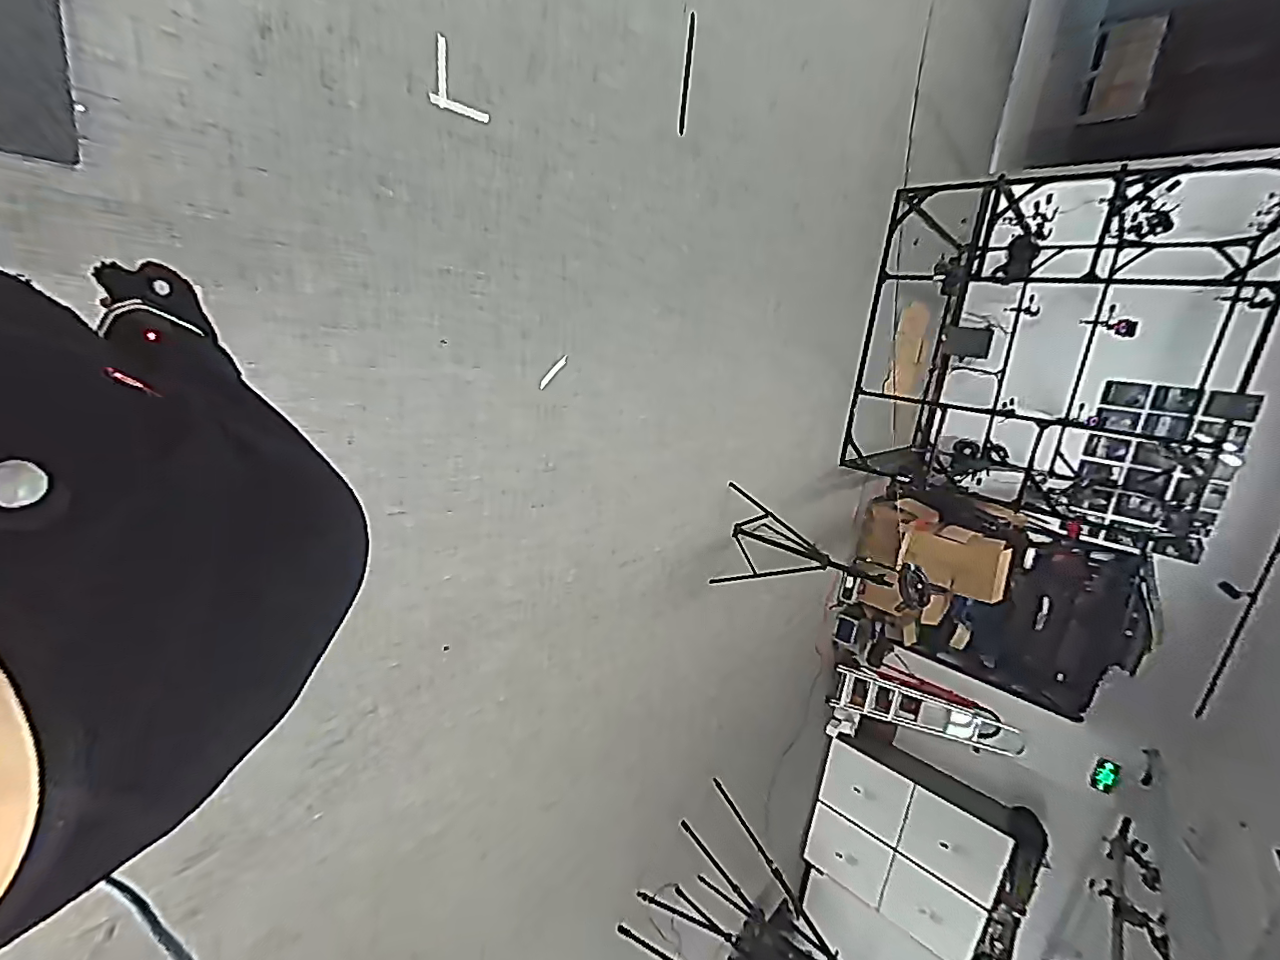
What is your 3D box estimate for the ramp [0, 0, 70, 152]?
[{"bbox_3d":[-1.055,-0.996,0.606,0.509,0.206,0.991,-14,116,-49],"label":"ramp"}]
